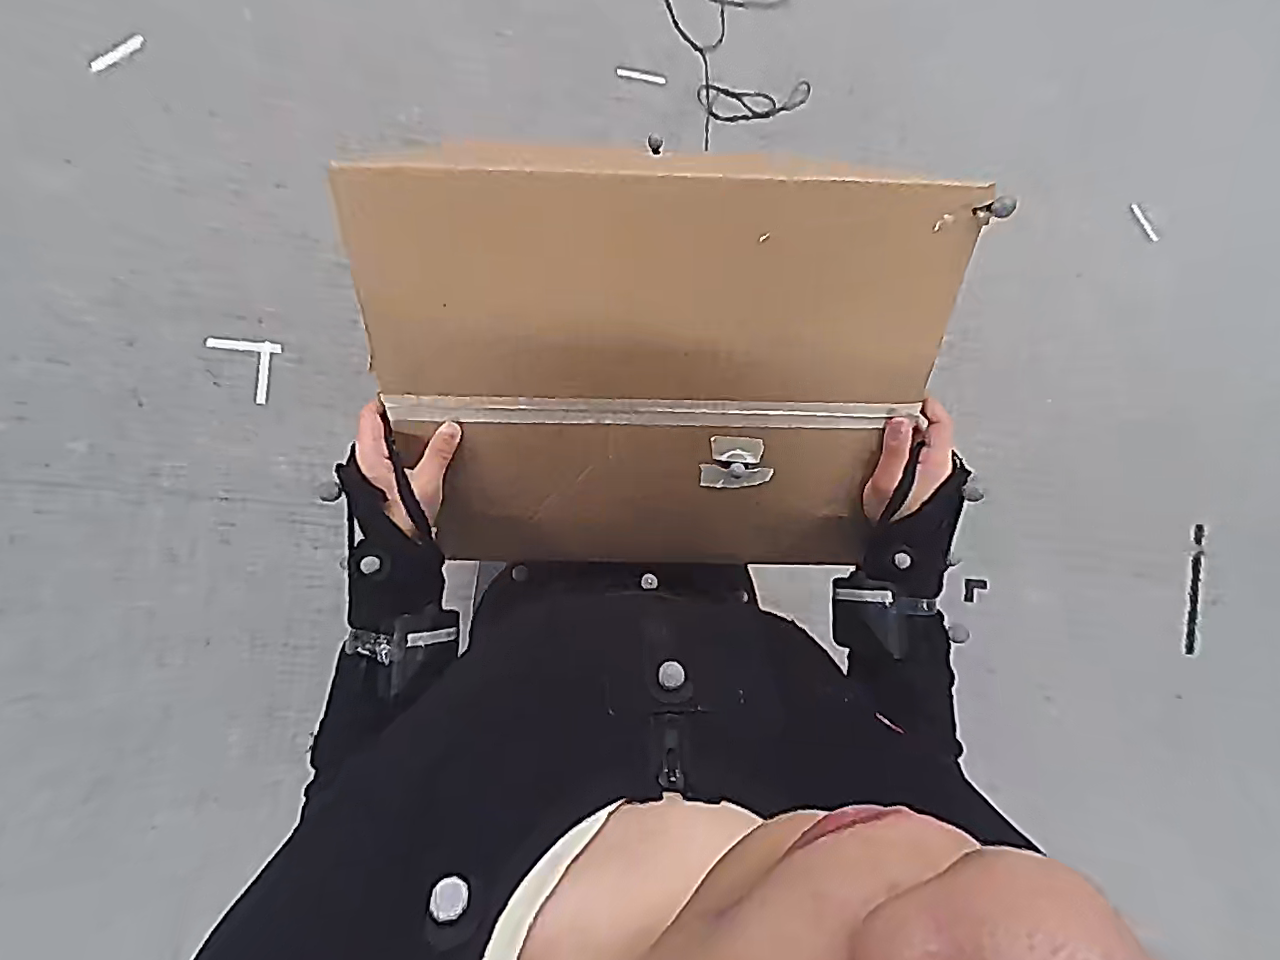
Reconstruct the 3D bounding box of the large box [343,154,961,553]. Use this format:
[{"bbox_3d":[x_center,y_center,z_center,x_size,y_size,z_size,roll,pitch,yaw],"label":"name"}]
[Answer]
[{"bbox_3d":[0.003,-0.146,0.548,0.408,0.320,0.320,-1,125,-2],"label":"large box"}]
